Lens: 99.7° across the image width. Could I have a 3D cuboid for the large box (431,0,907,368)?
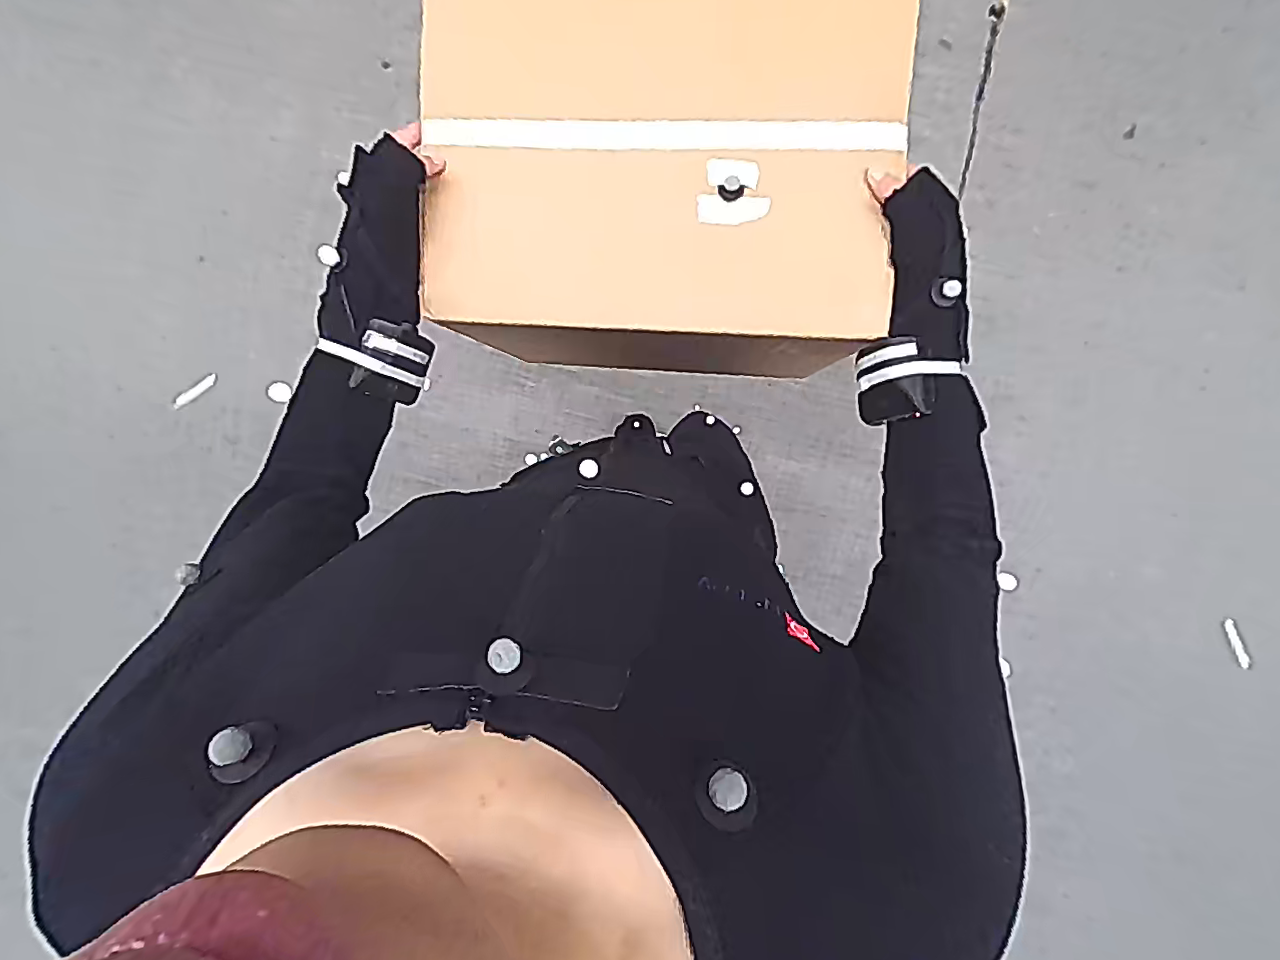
[{"bbox_3d":[0.026,-0.304,0.609,0.408,0.320,0.320,3,95,5],"label":"large box"}]
